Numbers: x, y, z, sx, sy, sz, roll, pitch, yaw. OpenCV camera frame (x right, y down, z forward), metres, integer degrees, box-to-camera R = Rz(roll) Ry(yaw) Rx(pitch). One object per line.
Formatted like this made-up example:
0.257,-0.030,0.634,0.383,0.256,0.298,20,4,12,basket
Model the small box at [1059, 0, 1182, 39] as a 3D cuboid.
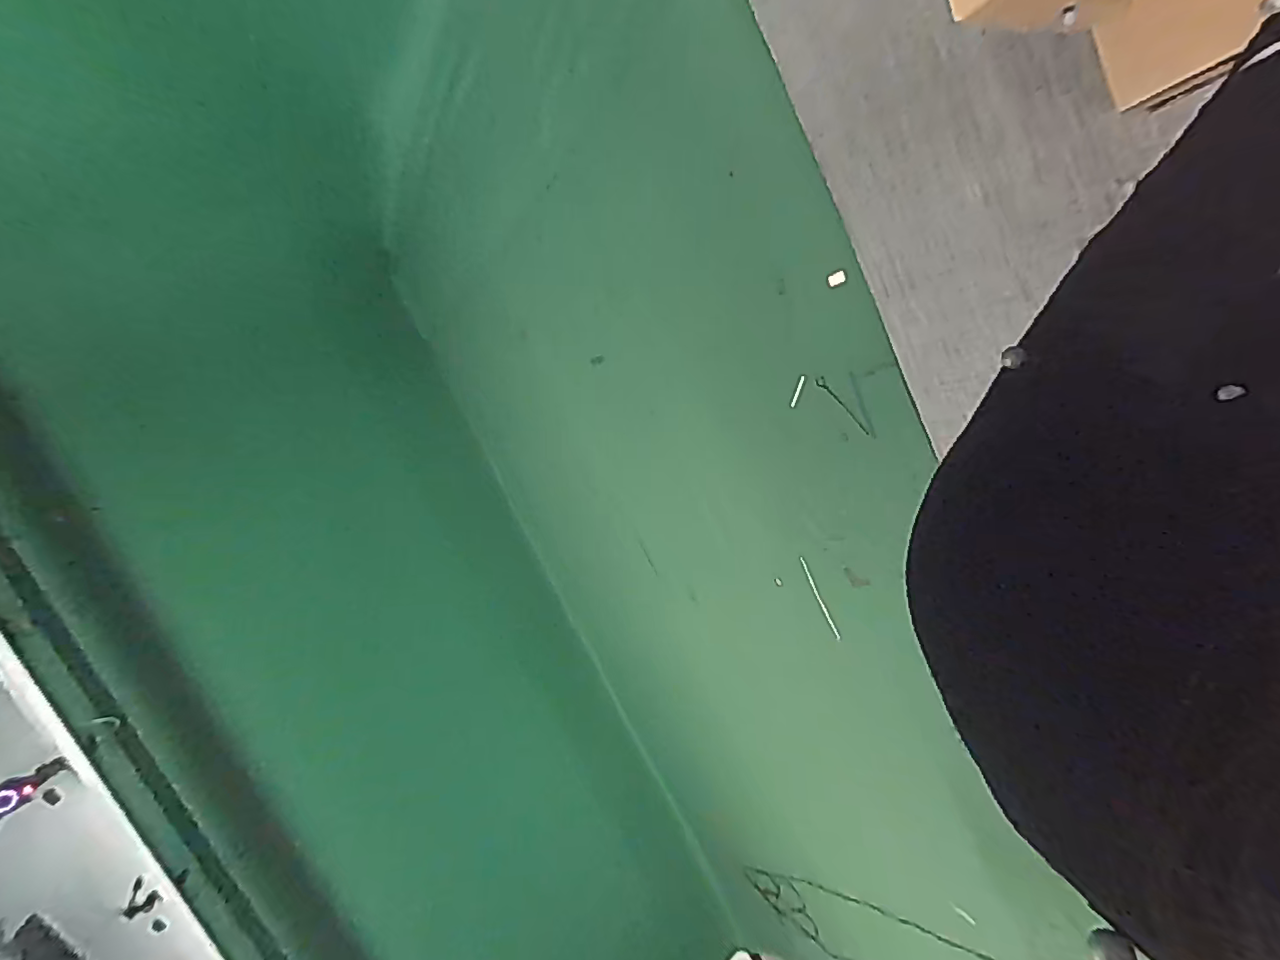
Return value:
0.602,-0.663,0.633,0.168,0.176,0.179,-5,109,55,small box
